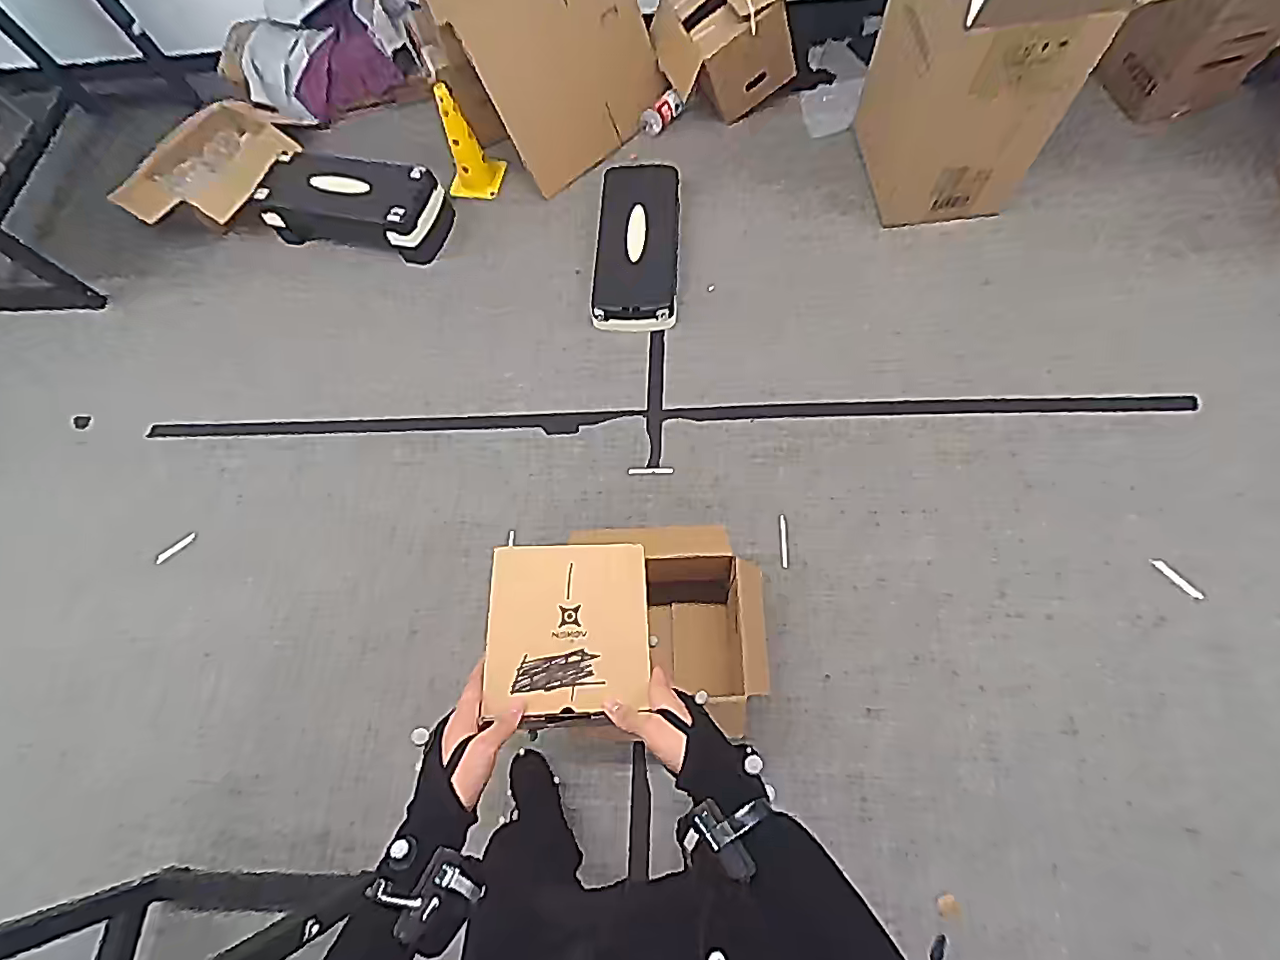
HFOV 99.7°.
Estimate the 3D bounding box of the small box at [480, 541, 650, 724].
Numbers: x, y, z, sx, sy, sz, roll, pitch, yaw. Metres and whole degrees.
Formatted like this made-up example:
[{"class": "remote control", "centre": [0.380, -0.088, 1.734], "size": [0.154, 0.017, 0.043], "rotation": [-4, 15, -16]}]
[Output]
[{"class": "small box", "centre": [-0.076, 0.181, 0.620], "size": [0.168, 0.176, 0.179], "rotation": [0, 62, -4]}]
